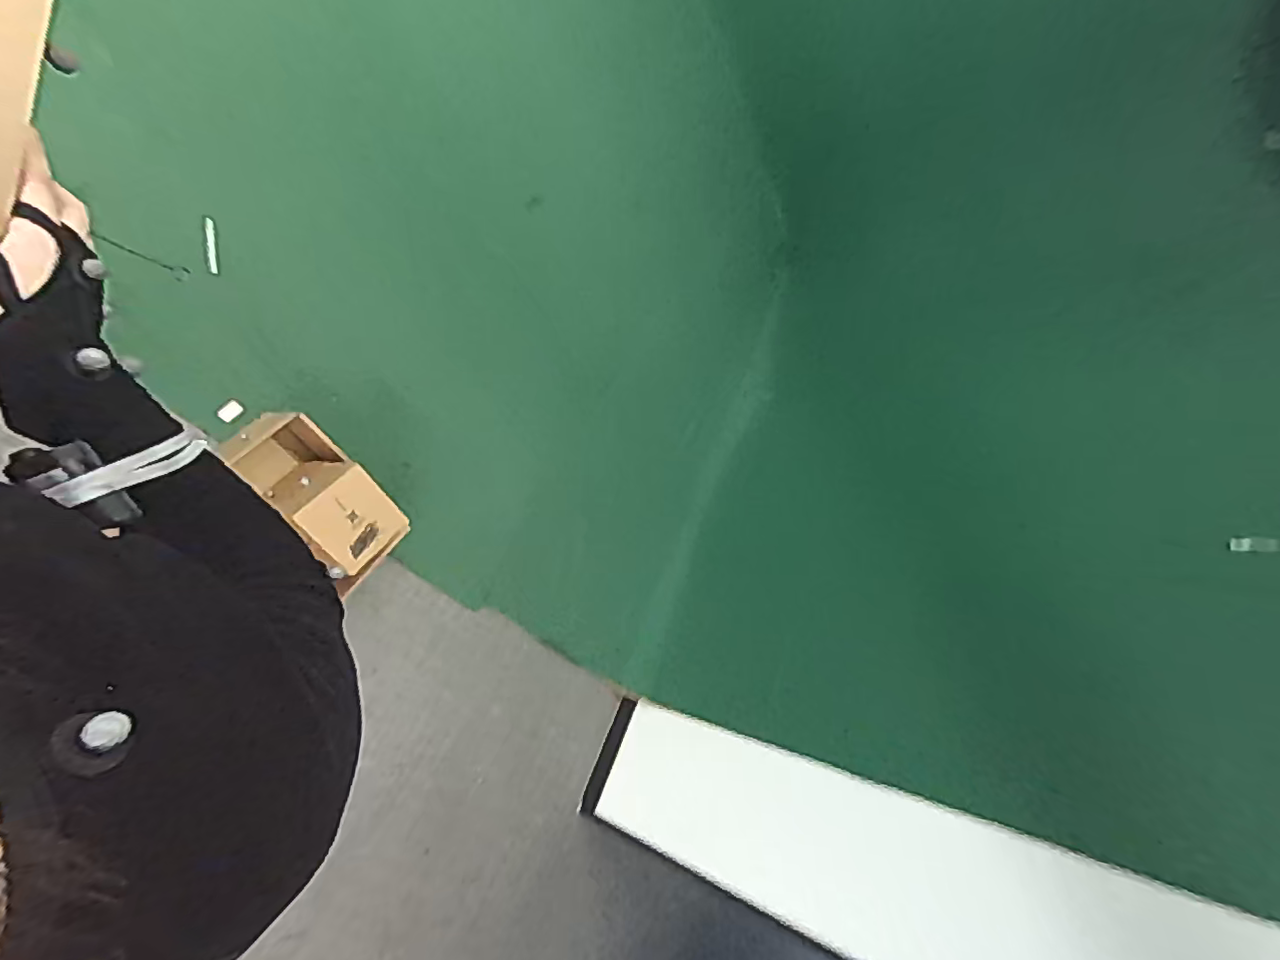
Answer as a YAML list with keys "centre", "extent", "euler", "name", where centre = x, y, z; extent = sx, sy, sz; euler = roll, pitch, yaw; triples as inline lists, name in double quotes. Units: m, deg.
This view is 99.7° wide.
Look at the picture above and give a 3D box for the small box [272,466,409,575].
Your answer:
- centre: [-0.657, 0.081, 1.190]
  extent: [0.168, 0.176, 0.179]
  euler: [-53, 128, -34]
  name: "small box"
